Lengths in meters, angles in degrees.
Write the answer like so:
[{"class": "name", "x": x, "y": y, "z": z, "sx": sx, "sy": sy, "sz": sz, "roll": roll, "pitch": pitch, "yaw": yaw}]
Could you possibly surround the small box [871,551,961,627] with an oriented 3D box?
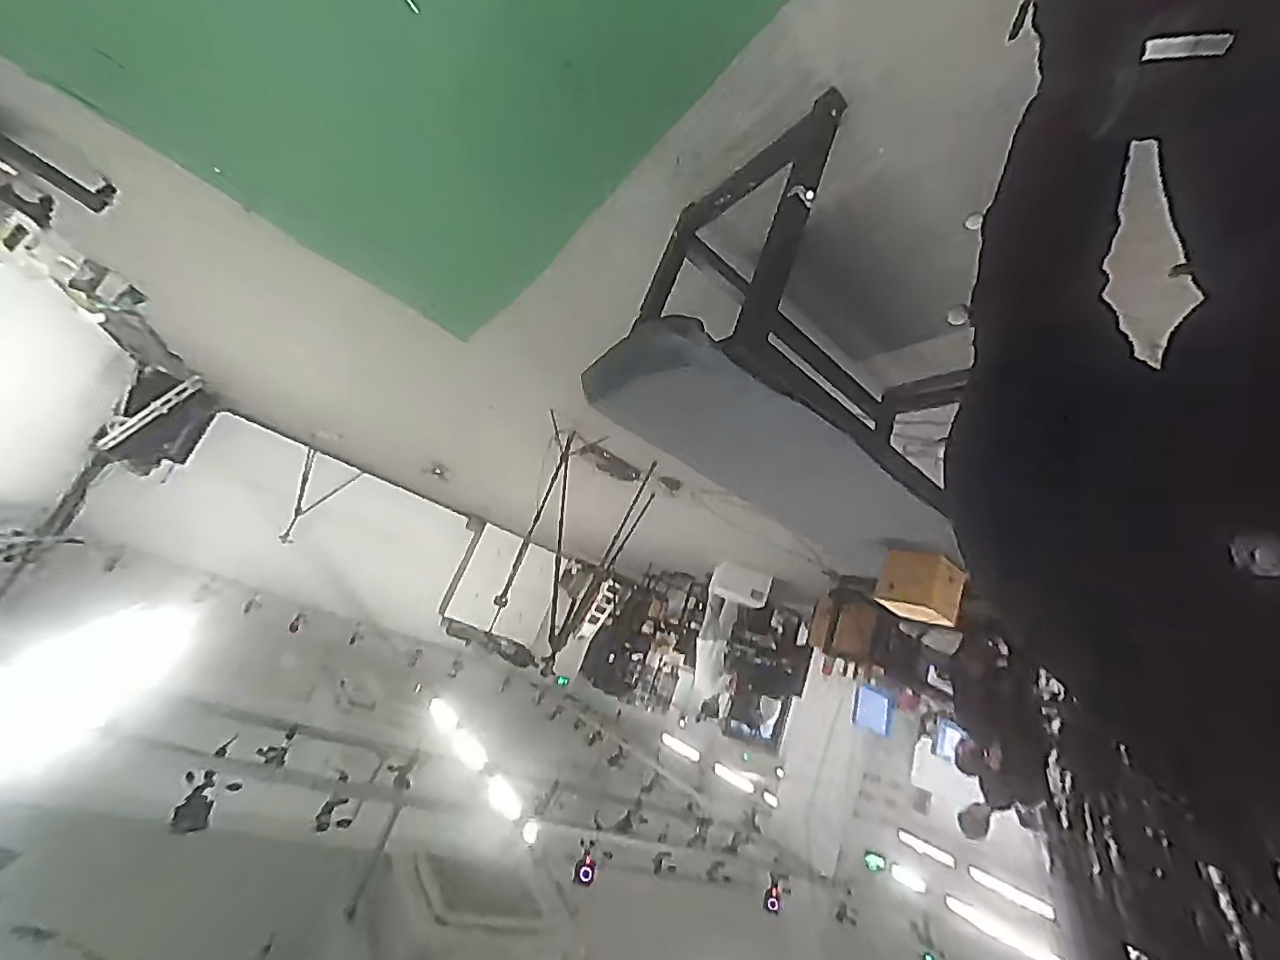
[{"class": "small box", "x": 0.855, "y": 0.330, "z": 1.671, "sx": 0.168, "sy": 0.176, "sz": 0.179, "roll": 32, "pitch": 161, "yaw": -29}]
